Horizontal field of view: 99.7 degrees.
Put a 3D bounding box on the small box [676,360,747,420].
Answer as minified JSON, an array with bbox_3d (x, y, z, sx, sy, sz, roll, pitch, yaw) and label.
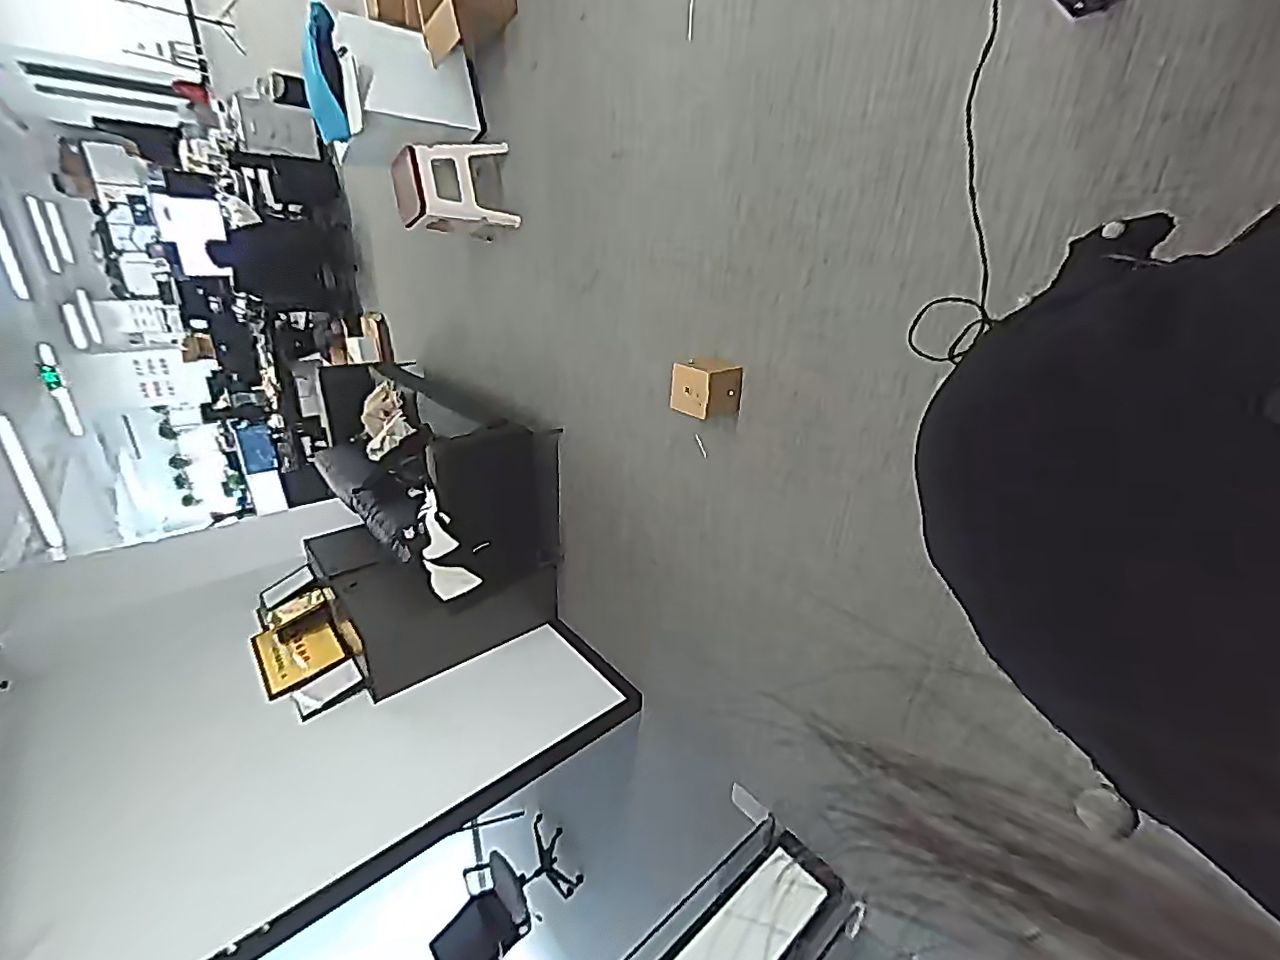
[{"bbox_3d":[0.250,-0.322,1.903,0.179,0.176,0.168,28,125,43],"label":"small box"}]
